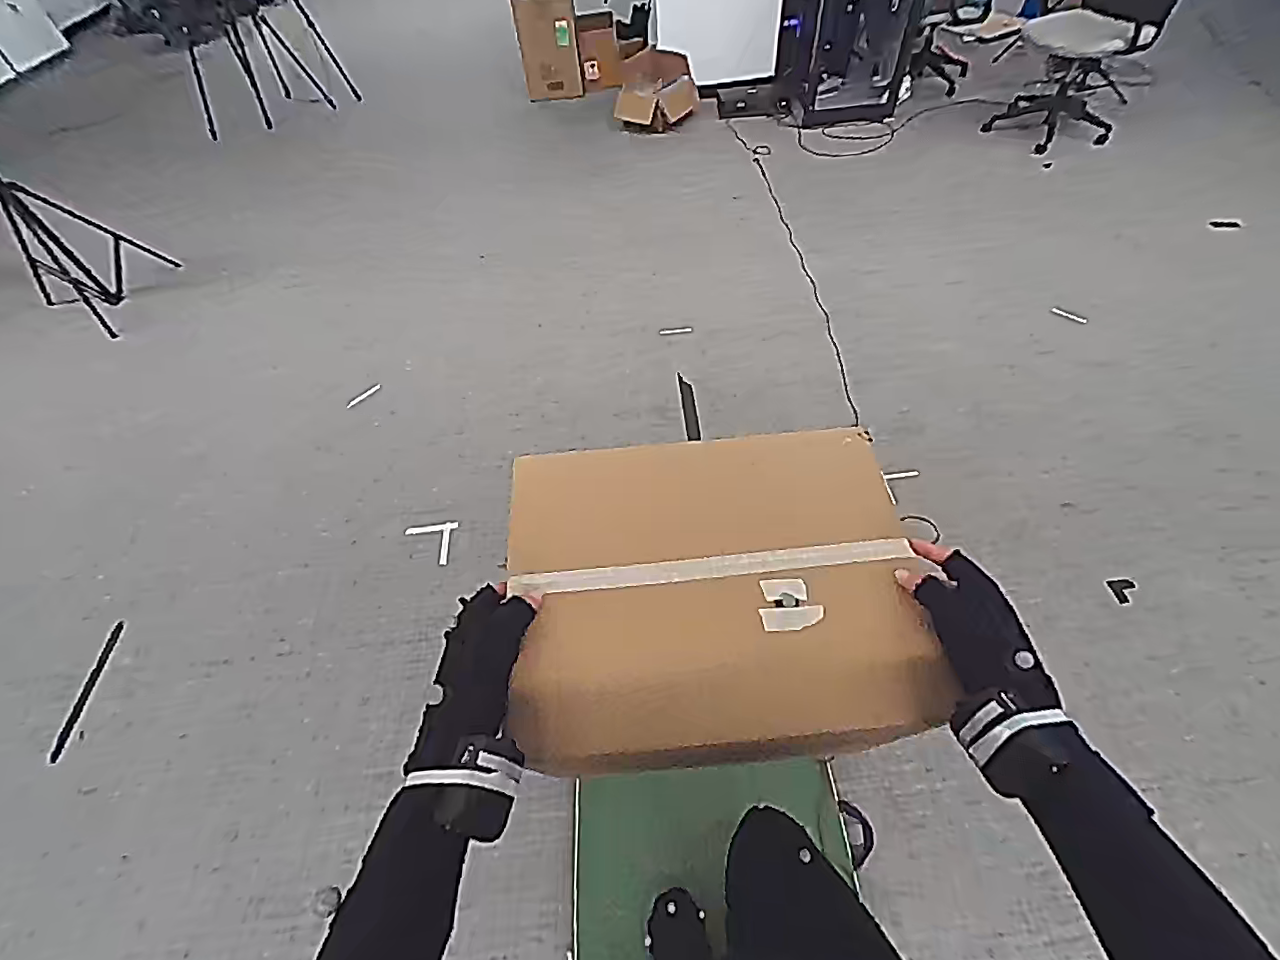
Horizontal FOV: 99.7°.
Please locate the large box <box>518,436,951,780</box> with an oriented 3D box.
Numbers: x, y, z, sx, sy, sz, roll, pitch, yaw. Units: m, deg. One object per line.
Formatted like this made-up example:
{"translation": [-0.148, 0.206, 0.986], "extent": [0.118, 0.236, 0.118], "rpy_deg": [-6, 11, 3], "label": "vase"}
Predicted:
{"translation": [0.075, 0.174, 0.687], "extent": [0.408, 0.320, 0.320], "rpy_deg": [-5, 58, -2], "label": "large box"}
